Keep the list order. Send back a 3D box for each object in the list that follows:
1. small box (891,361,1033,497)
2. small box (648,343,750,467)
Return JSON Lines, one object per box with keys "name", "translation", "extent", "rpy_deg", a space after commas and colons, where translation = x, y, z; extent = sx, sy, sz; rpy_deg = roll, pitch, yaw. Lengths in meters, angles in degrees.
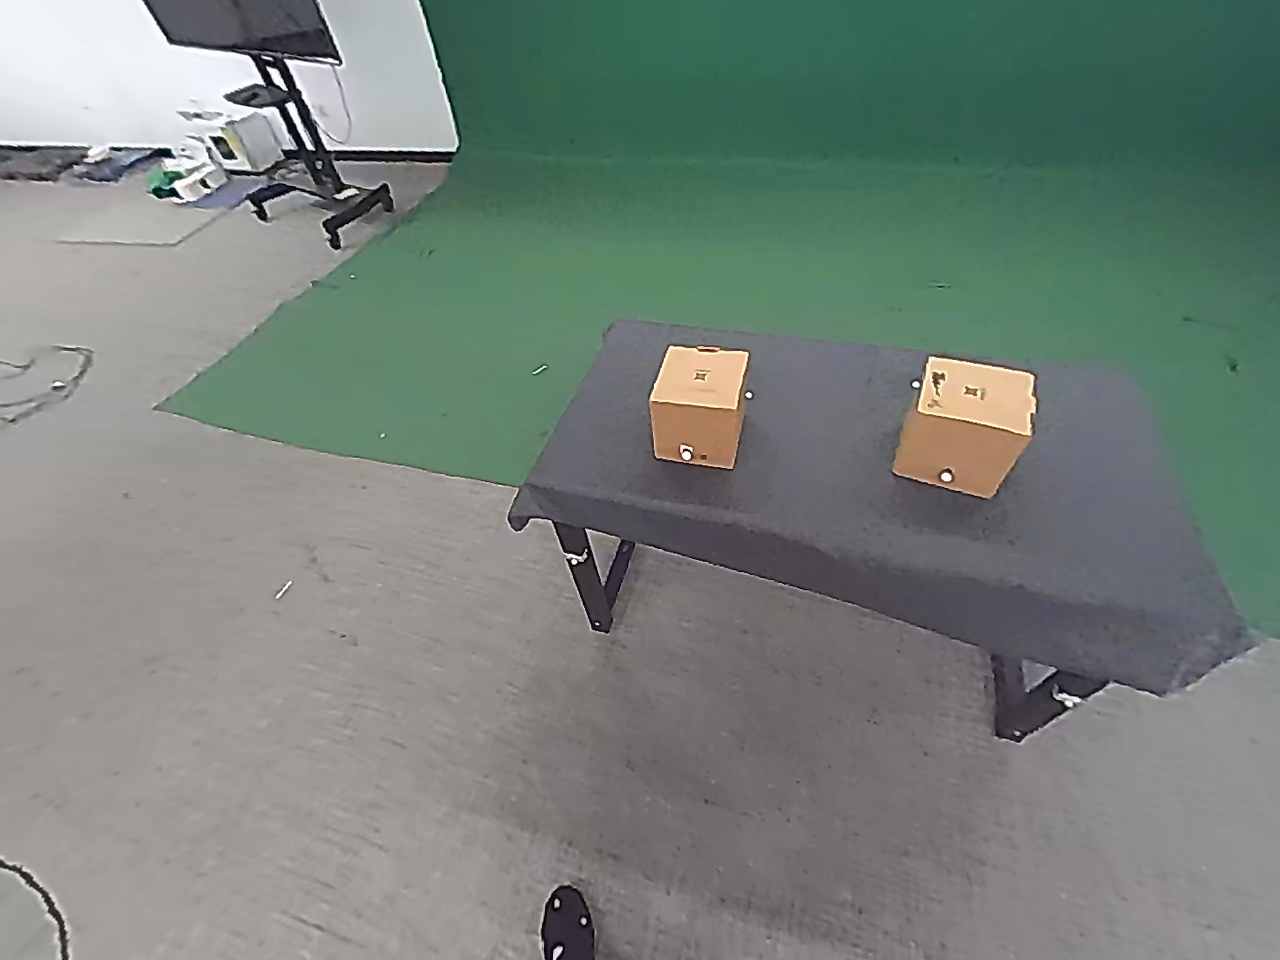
{"name": "small box", "translation": [0.594, -0.091, 1.010], "extent": [0.179, 0.176, 0.168], "rpy_deg": [18, 54, 20]}
{"name": "small box", "translation": [0.123, -0.152, 1.095], "extent": [0.168, 0.176, 0.179], "rpy_deg": [9, 51, 16]}
